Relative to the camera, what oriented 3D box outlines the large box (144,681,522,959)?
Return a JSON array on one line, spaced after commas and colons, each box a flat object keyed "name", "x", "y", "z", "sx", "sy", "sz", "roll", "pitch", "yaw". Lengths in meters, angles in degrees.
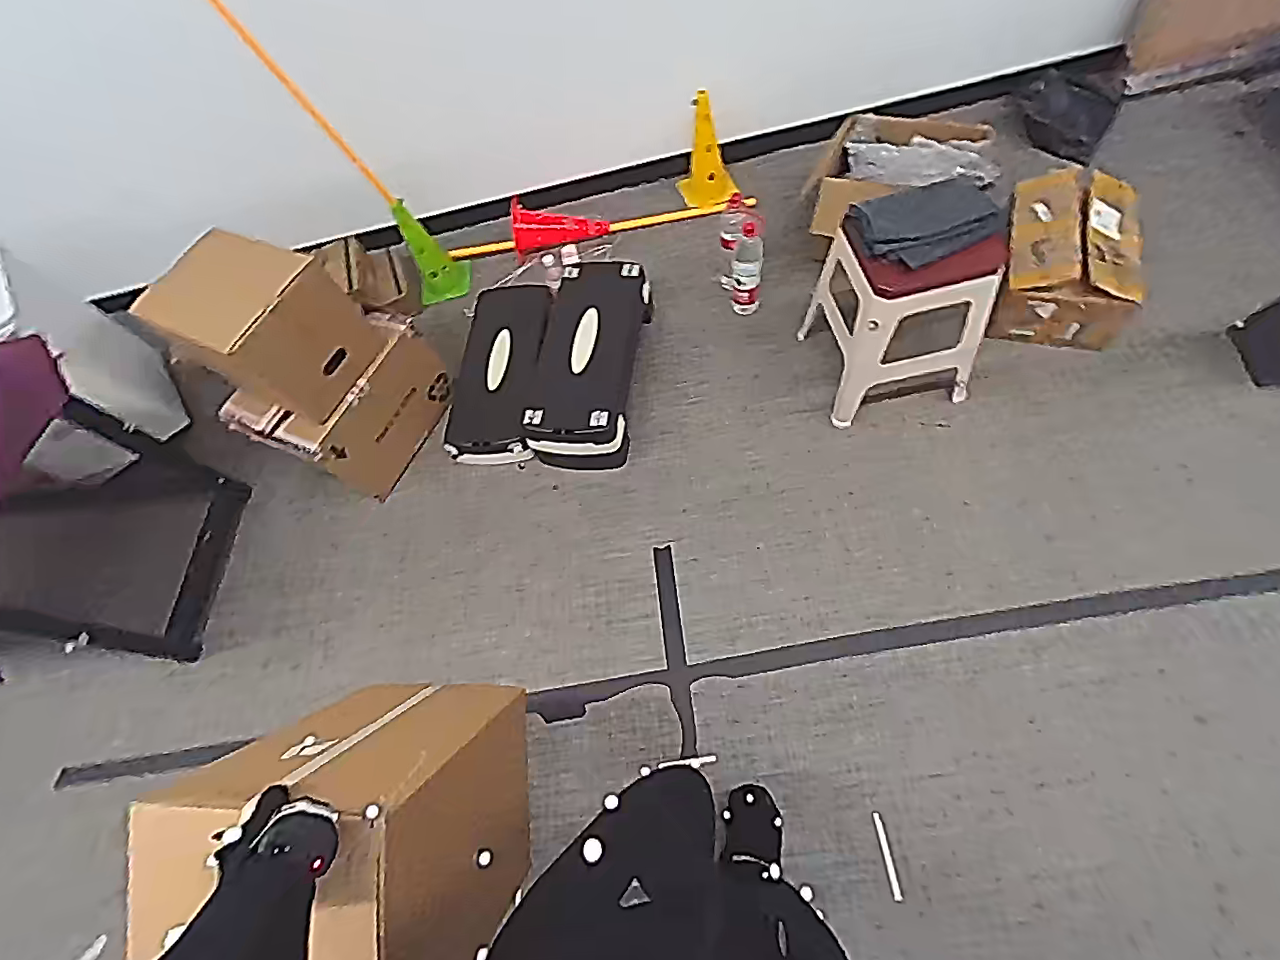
[{"name": "large box", "x": -0.386, "y": 0.518, "z": 0.782, "sx": 0.320, "sy": 0.408, "sz": 0.320, "roll": -2, "pitch": 88, "yaw": 10}]
